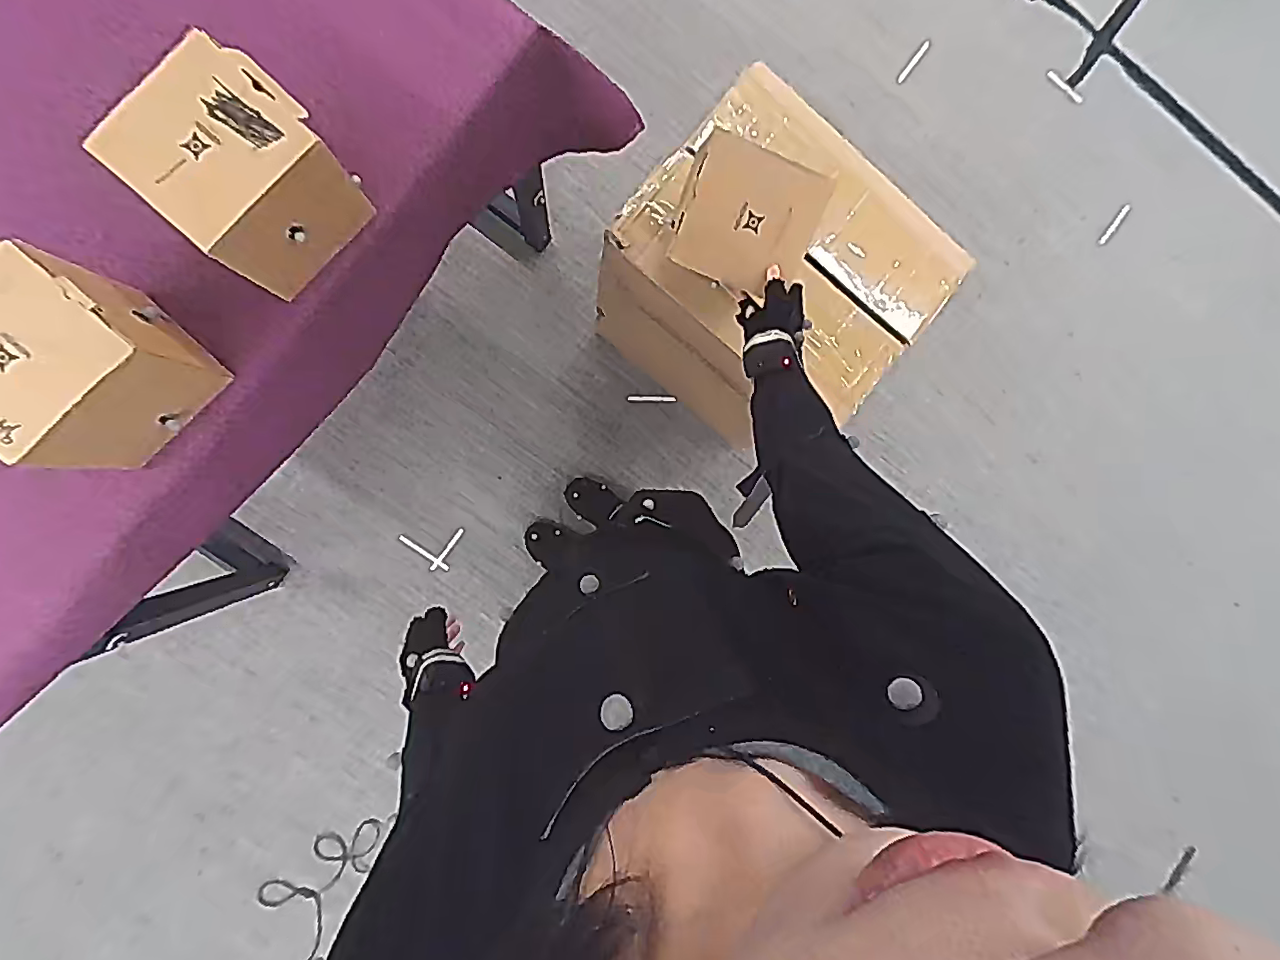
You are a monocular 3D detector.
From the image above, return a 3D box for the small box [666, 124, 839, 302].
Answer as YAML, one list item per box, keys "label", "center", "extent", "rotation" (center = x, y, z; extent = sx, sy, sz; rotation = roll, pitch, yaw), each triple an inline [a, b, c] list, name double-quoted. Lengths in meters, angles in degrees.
- label: "small box"
  center: [0.145, -0.374, 0.781]
  extent: [0.179, 0.176, 0.168]
  rotation: [19, 113, -10]

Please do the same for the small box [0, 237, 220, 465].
- label: "small box"
  center: [-0.650, -0.135, 0.634]
  extent: [0.168, 0.176, 0.179]
  rotation: [44, 85, -4]

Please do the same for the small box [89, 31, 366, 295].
- label: "small box"
  center: [-0.467, -0.361, 0.653]
  extent: [0.168, 0.176, 0.179]
  rotation: [42, 87, -4]
